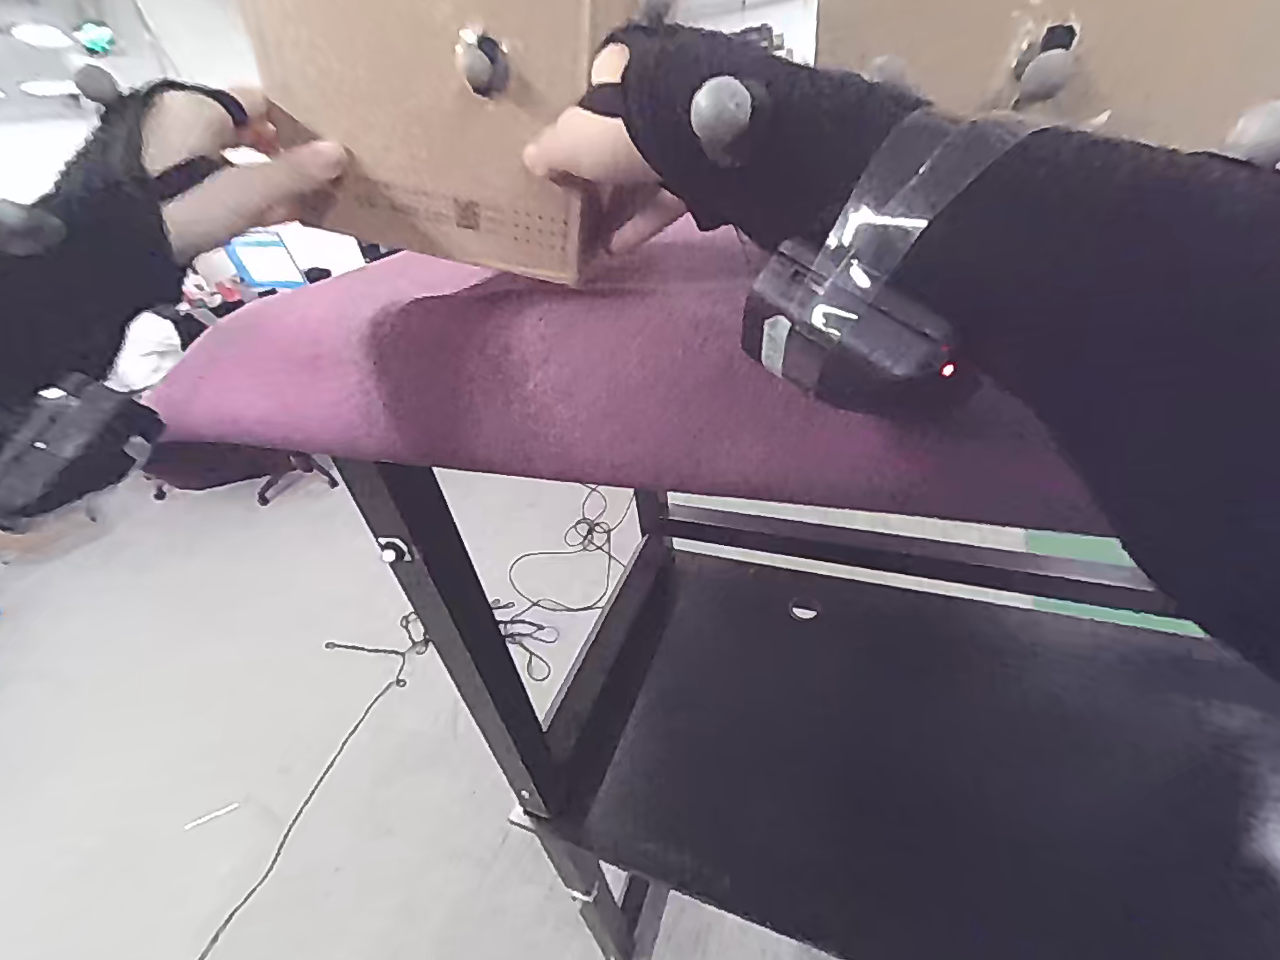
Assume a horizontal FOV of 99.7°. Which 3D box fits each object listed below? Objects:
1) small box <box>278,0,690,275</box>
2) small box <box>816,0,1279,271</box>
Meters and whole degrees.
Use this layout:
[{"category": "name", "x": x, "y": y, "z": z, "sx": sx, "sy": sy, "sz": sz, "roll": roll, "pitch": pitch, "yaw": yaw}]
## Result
[{"category": "small box", "x": -0.070, "y": -0.233, "z": 0.308, "sx": 0.168, "sy": 0.176, "sz": 0.179, "roll": 15, "pitch": 39, "yaw": 6}, {"category": "small box", "x": 0.180, "y": -0.207, "z": 0.265, "sx": 0.168, "sy": 0.176, "sz": 0.179, "roll": 5, "pitch": 36, "yaw": 18}]
